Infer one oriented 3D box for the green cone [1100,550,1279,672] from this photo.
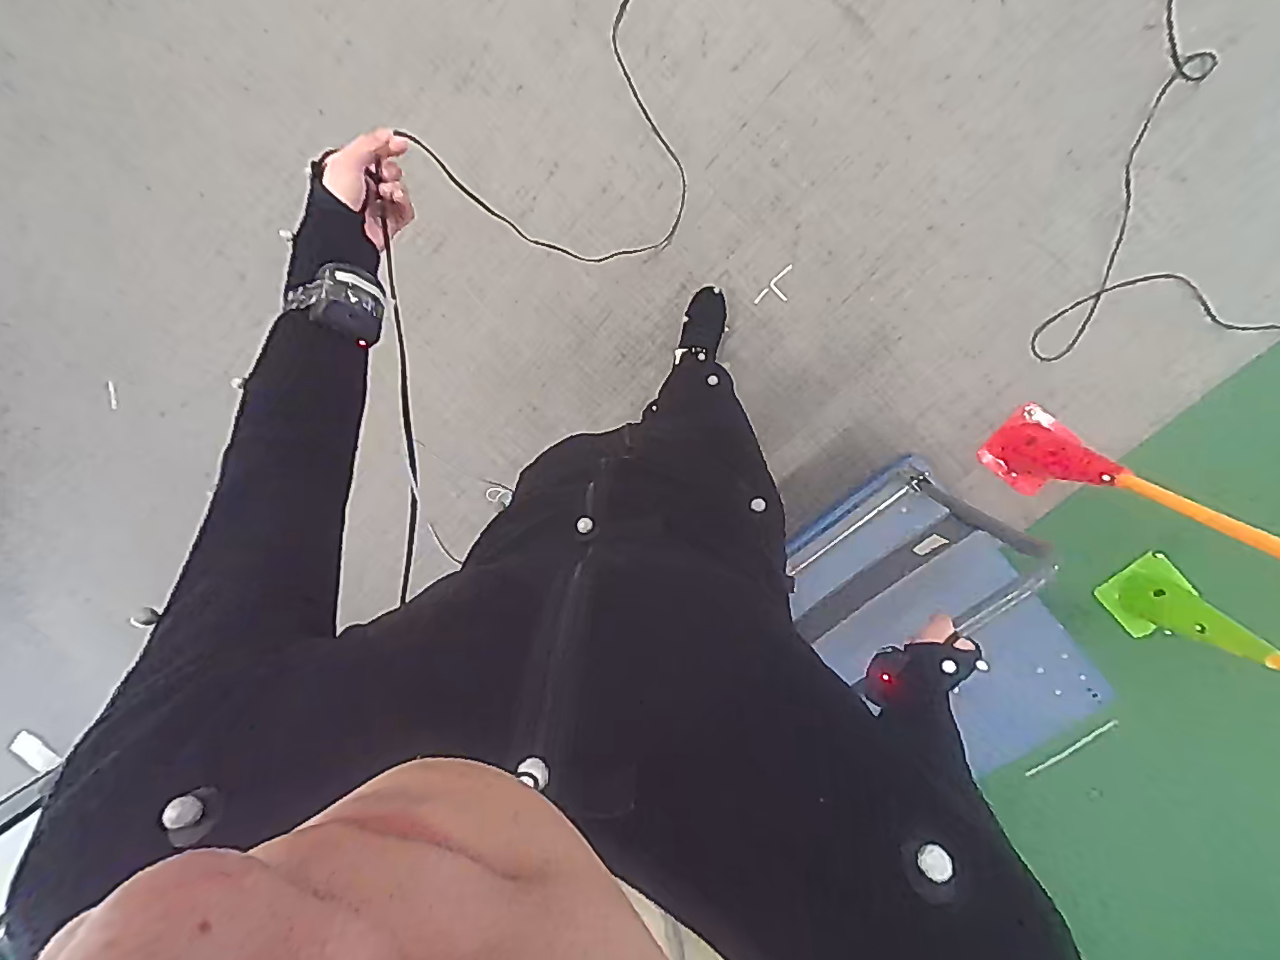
[{"bbox_3d":[1.398,0.355,1.335,0.202,0.368,0.200,44,104,-5],"label":"green cone"}]
